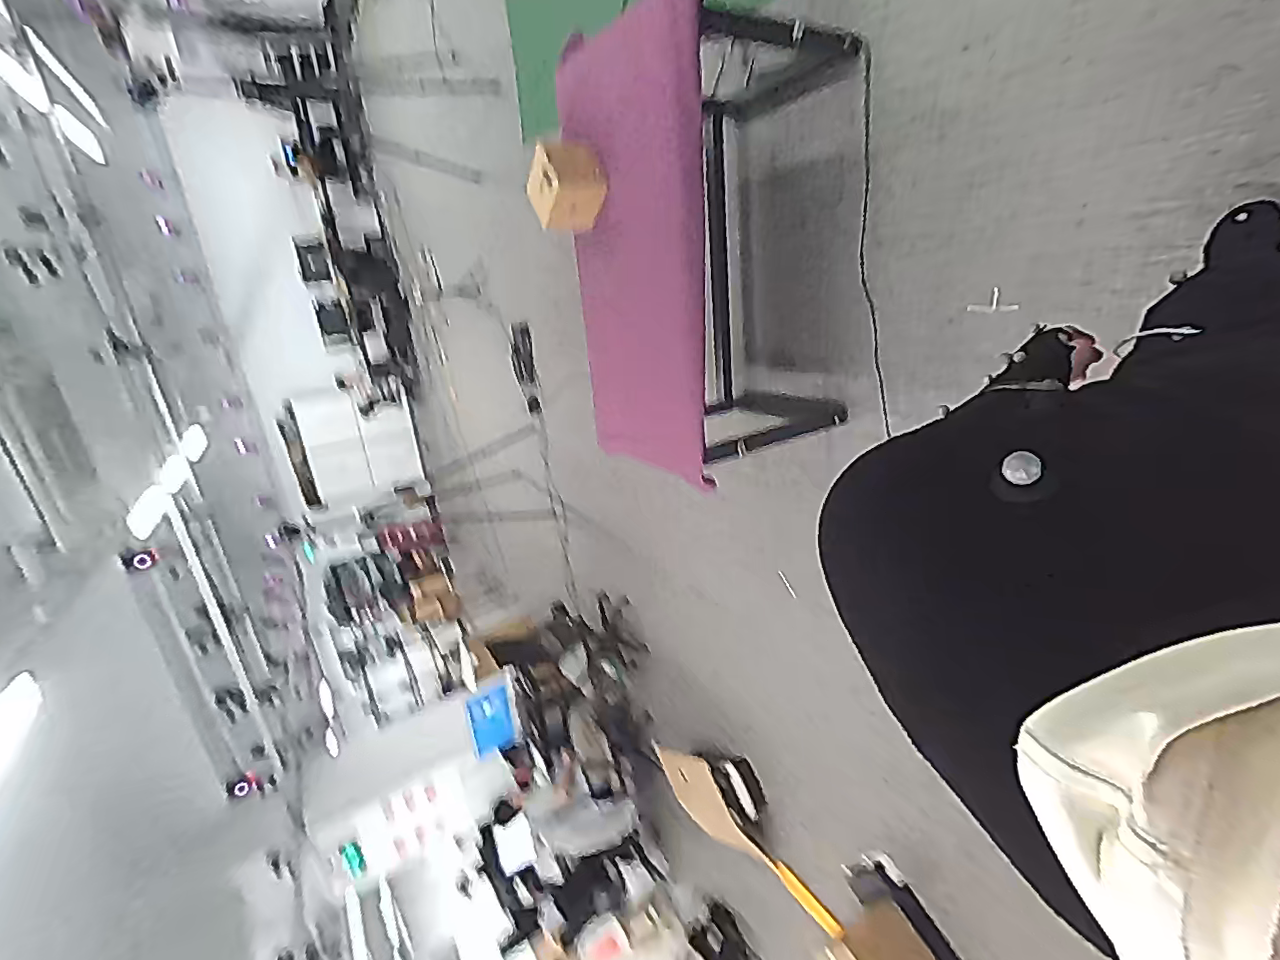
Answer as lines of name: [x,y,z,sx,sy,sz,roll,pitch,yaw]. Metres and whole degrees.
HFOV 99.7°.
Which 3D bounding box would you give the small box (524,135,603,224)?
small box: [-0.230,-0.910,1.644,0.168,0.176,0.179,66,150,11]
